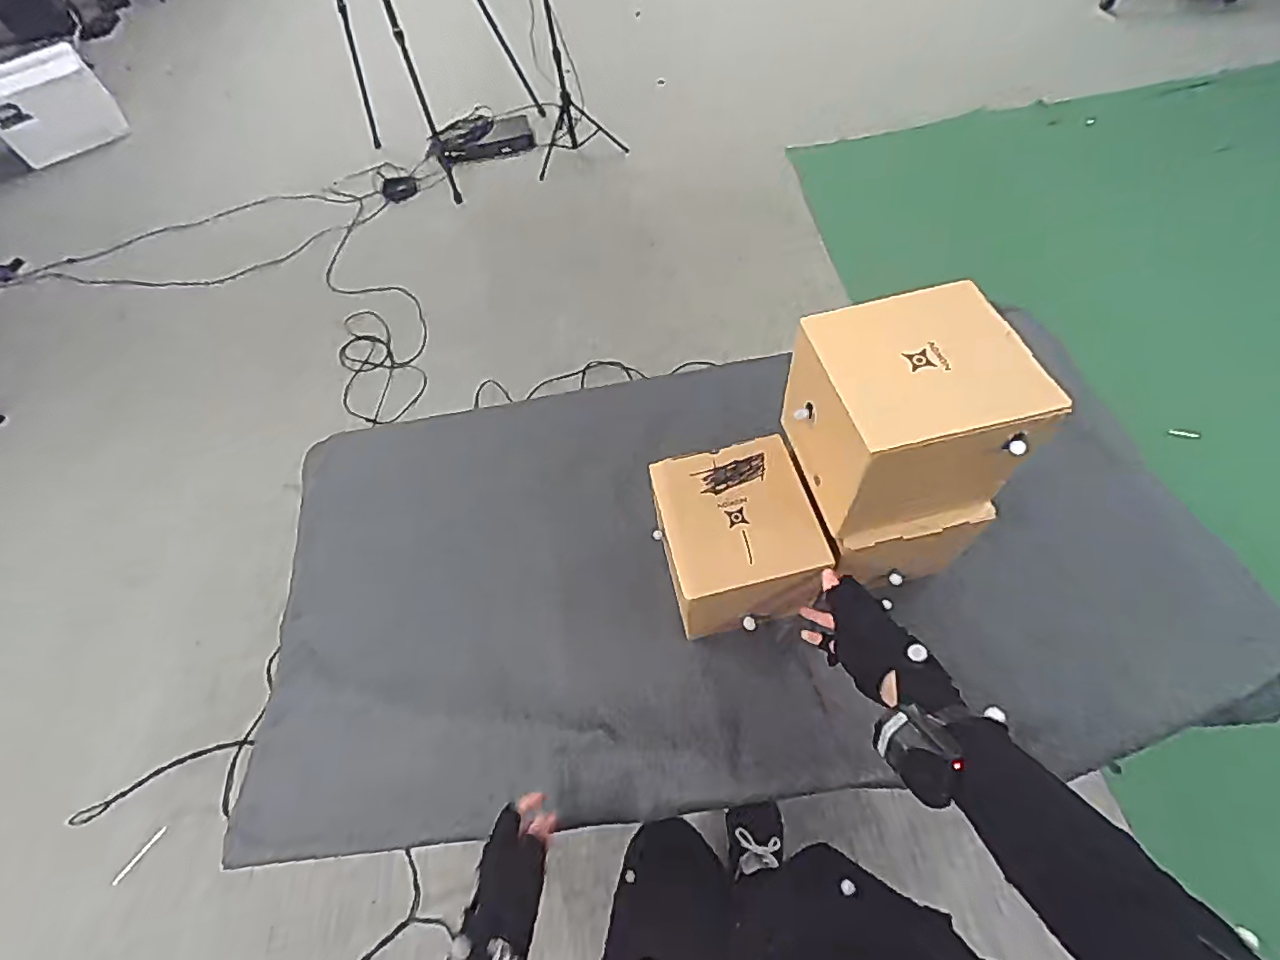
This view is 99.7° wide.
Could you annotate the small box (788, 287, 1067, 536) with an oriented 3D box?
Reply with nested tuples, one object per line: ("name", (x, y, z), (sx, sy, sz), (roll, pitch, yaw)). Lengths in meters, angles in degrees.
("small box", (0.261, -0.061, 0.550), (0.179, 0.176, 0.168), (-13, 58, -2))
